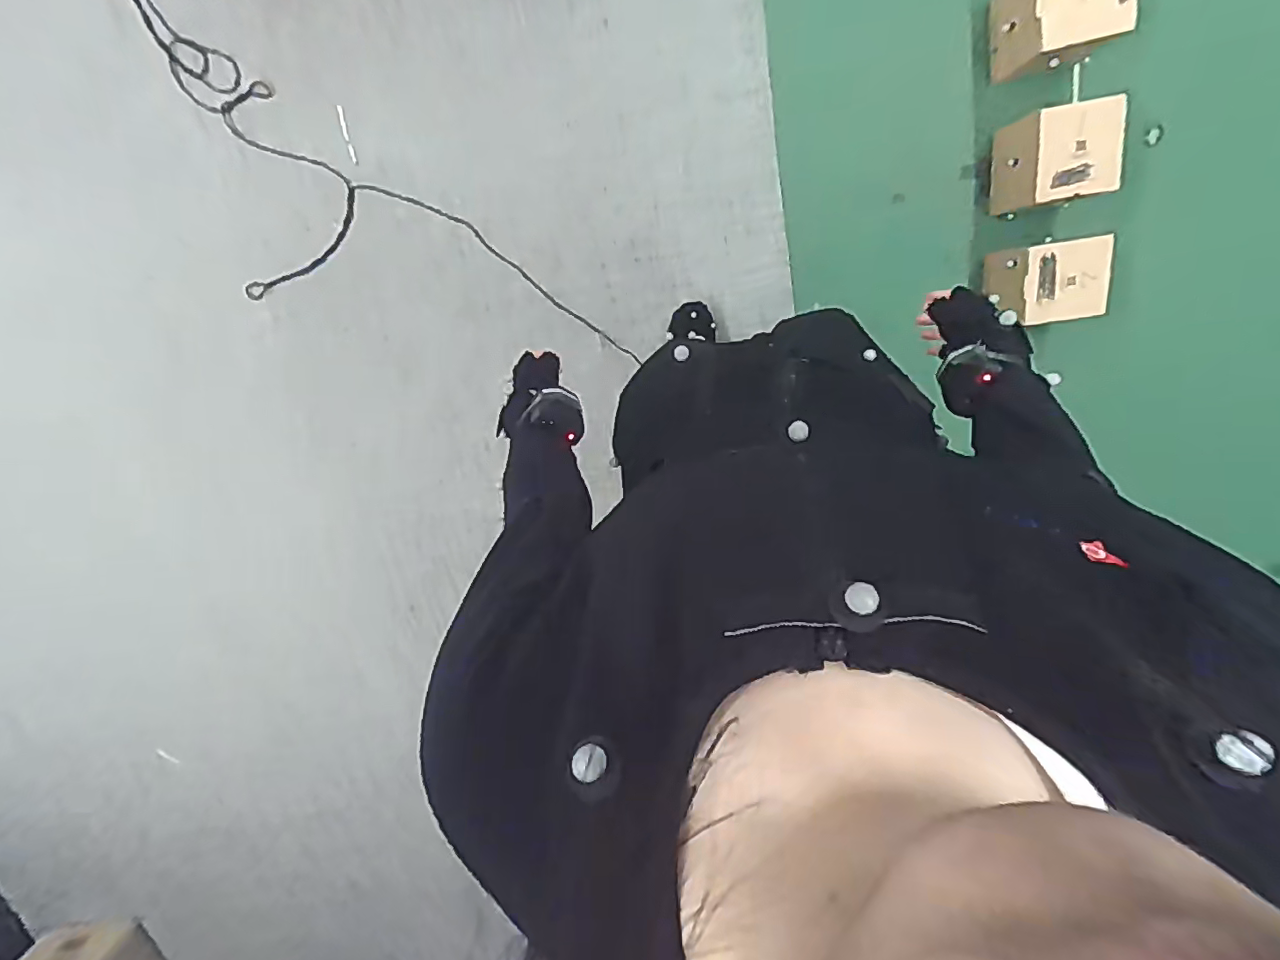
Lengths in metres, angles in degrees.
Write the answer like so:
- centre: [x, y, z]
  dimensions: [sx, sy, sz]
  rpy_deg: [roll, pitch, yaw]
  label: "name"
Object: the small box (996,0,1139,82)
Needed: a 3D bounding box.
- centre: [0.844, -0.937, 1.083]
  dimensions: [0.179, 0.176, 0.168]
  rpy_deg: [-10, 107, 7]
  label: "small box"
